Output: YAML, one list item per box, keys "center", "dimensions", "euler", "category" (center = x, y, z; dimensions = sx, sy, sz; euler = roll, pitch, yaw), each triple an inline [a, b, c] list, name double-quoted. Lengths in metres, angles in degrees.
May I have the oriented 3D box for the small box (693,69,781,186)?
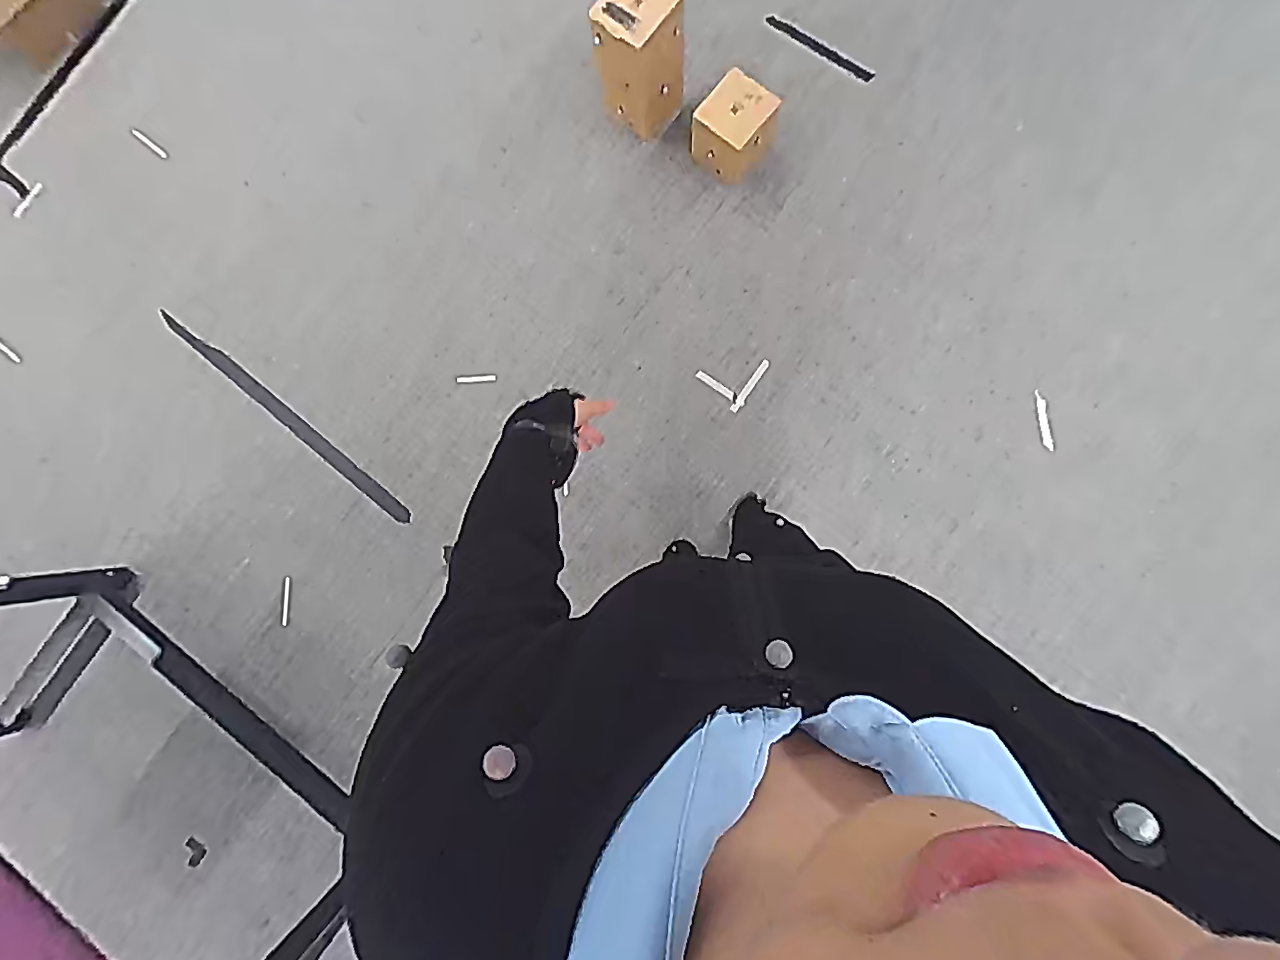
- center: [0.263, -0.968, 1.503]
  dimensions: [0.168, 0.176, 0.179]
  euler: [41, 90, 6]
  category: "small box"

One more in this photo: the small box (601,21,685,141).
- center: [0.012, -1.128, 1.540]
  dimensions: [0.168, 0.176, 0.179]
  euler: [40, 90, 7]
  category: "small box"
